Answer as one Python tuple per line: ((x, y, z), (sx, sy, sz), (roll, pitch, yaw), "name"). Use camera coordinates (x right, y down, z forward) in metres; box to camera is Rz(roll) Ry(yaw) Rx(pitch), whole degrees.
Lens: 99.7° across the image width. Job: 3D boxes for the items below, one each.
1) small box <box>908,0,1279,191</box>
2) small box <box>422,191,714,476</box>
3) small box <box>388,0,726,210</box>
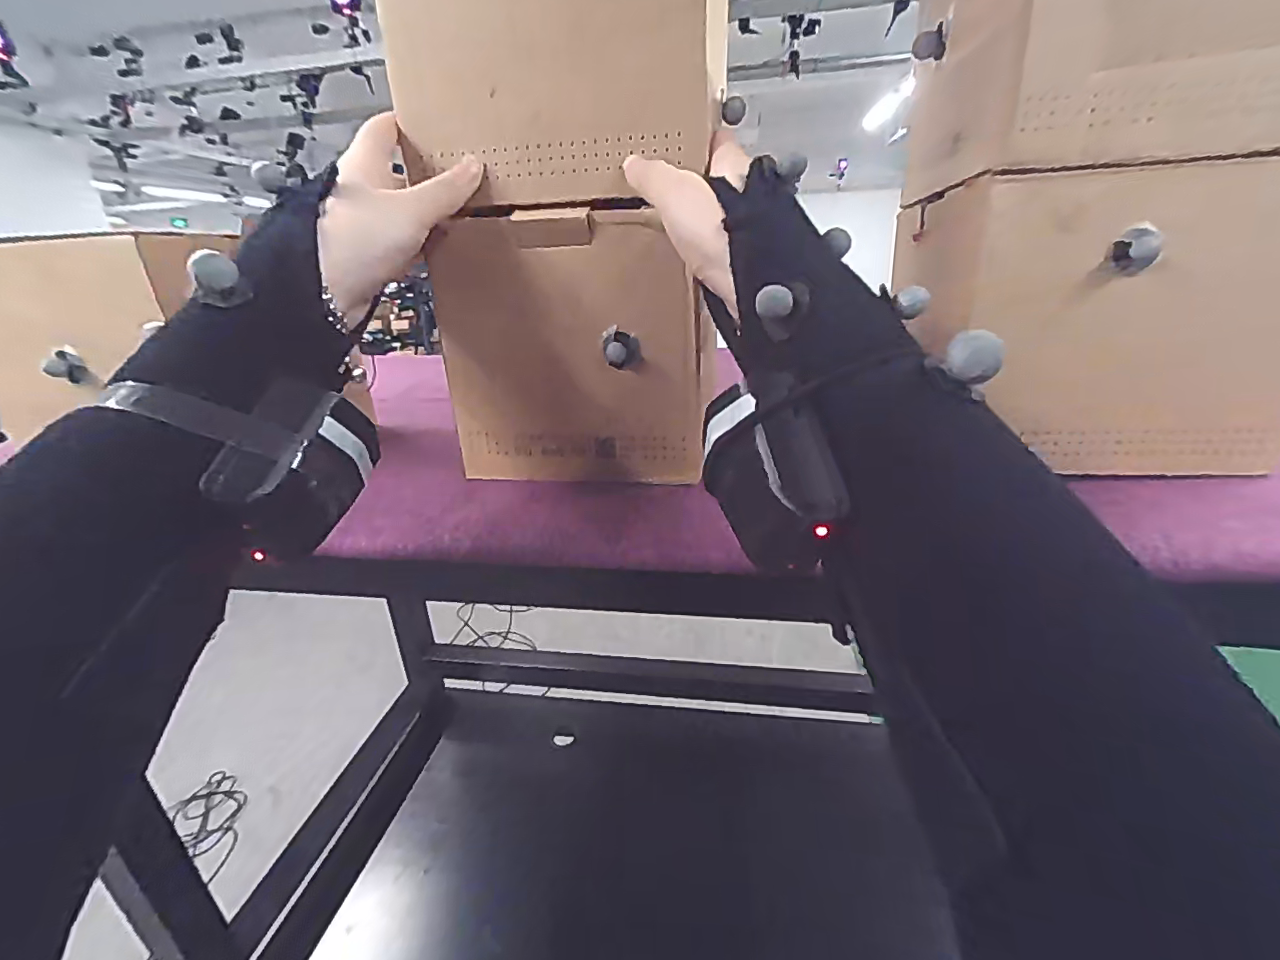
((0.269, -0.267, 0.311), (0.179, 0.176, 0.168), (0, 20, 9), "small box")
((-0.031, -0.109, 0.406), (0.168, 0.176, 0.179), (2, 22, 9), "small box")
((-0.039, -0.263, 0.338), (0.179, 0.176, 0.168), (2, 23, 10), "small box")
